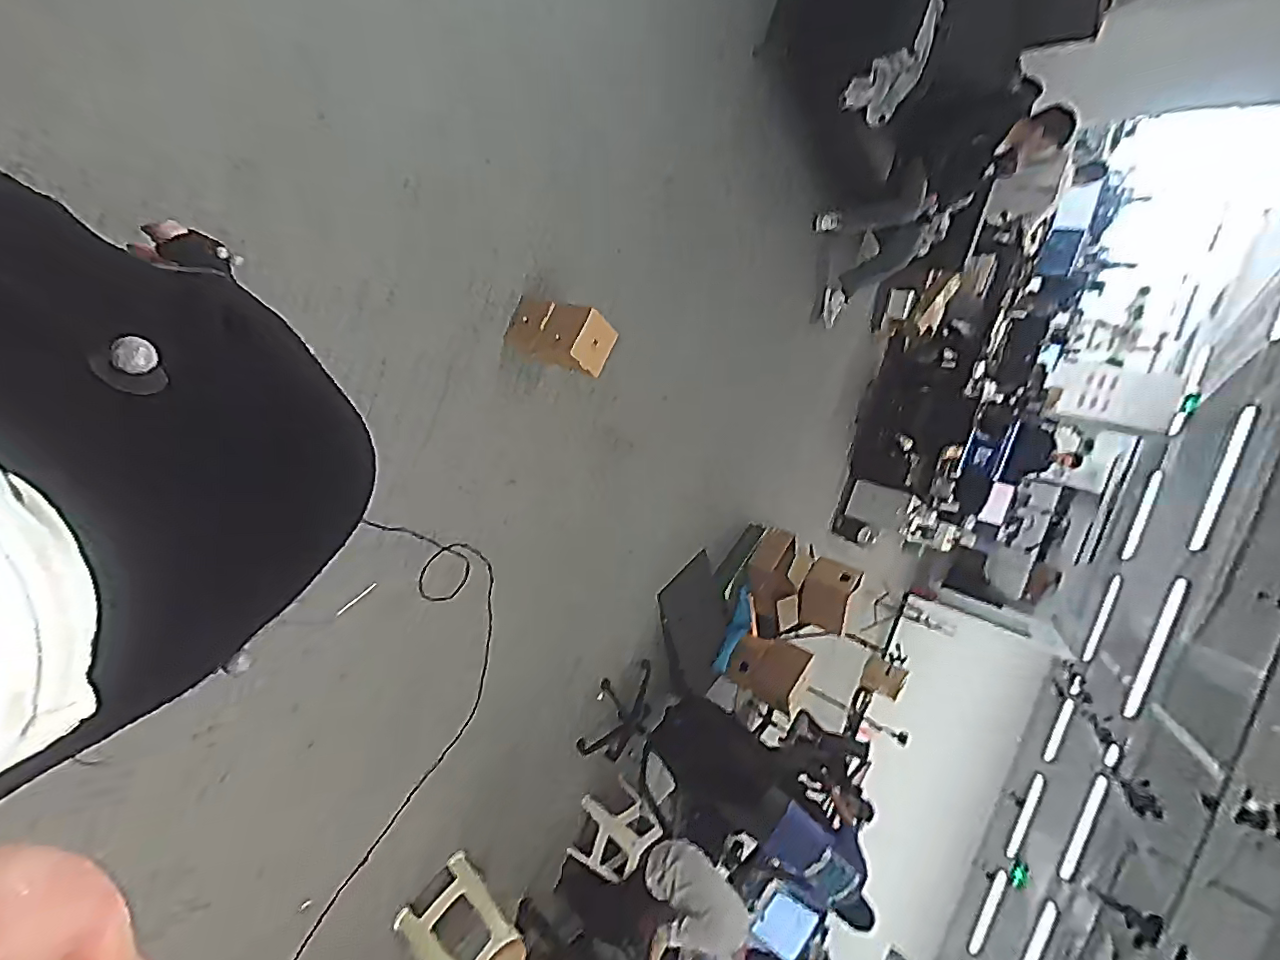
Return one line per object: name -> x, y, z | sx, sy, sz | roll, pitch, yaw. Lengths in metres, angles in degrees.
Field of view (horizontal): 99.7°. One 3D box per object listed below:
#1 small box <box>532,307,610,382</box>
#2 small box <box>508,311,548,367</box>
small box -> -0.236, -0.456, 1.812 | 0.168, 0.176, 0.179 | 37, 75, -56
small box -> -0.352, -0.501, 1.905 | 0.168, 0.176, 0.179 | -21, 121, -49
